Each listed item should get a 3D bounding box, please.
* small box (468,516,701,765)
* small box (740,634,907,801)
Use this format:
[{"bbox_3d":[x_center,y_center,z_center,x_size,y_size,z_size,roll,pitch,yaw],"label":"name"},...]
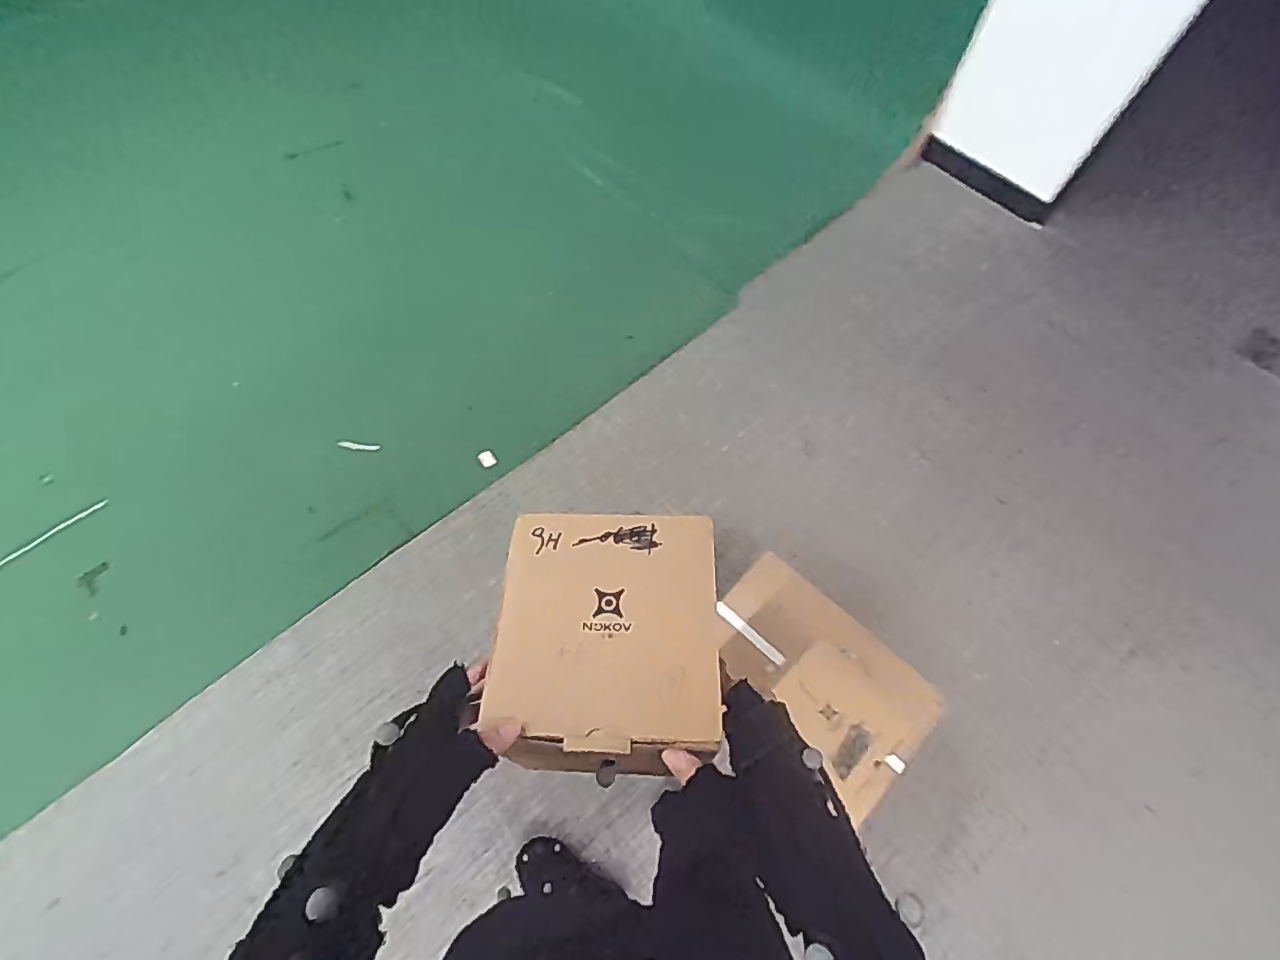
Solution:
[{"bbox_3d":[-0.033,0.147,0.479,0.168,0.176,0.179,-1,56,2],"label":"small box"},{"bbox_3d":[0.286,0.380,0.885,0.168,0.176,0.179,-40,71,-14],"label":"small box"}]
